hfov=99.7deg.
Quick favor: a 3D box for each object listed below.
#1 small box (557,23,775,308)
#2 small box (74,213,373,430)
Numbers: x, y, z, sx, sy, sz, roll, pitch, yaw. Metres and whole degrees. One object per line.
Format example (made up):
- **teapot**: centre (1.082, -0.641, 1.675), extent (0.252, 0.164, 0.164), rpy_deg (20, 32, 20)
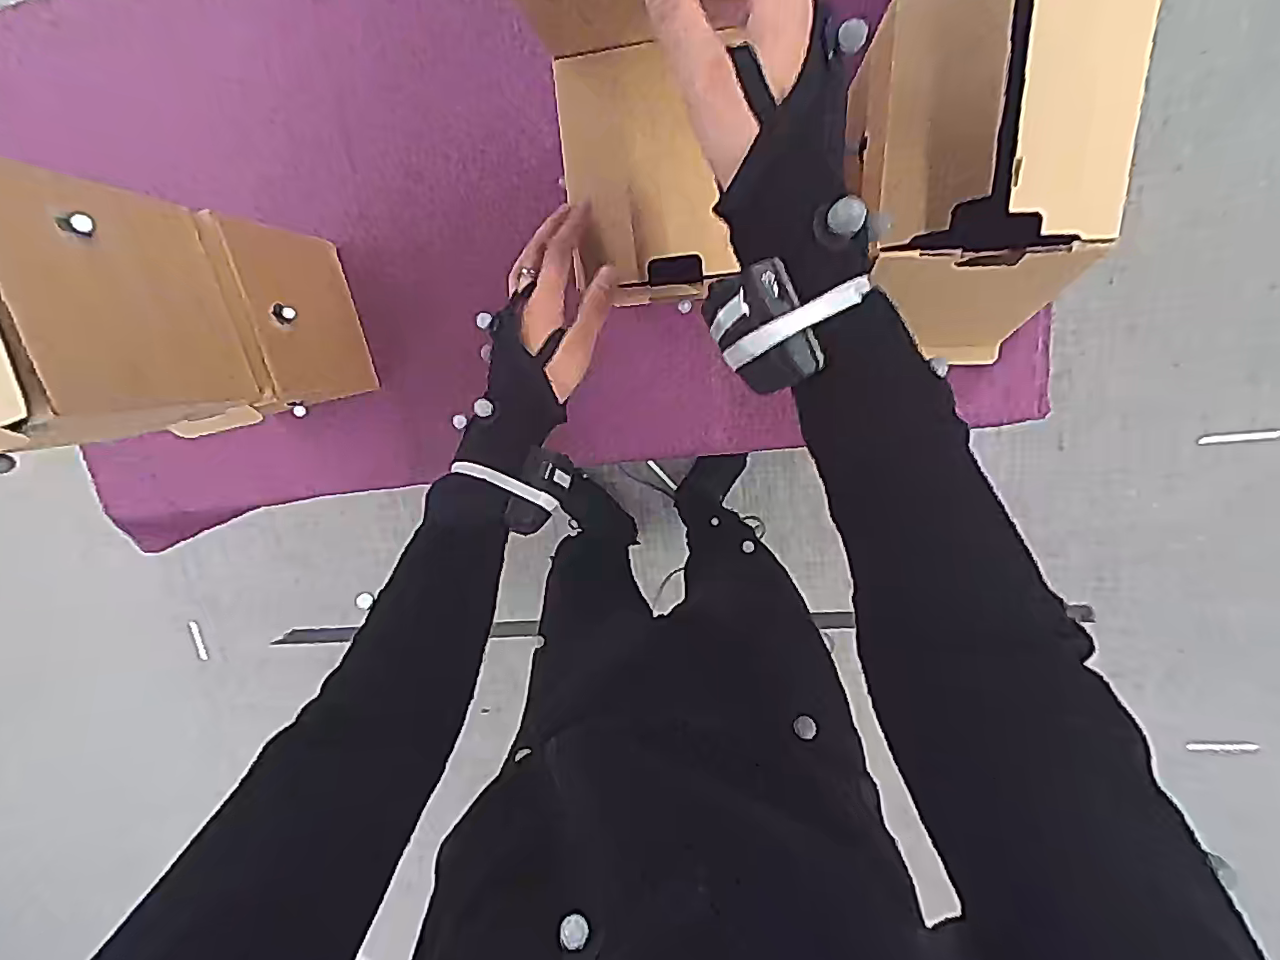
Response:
- **small box**: centre (0.032, -0.260, 0.494), extent (0.168, 0.176, 0.179), rpy_deg (-2, 104, 10)
- **small box**: centre (-0.428, -0.164, 0.590), extent (0.168, 0.176, 0.179), rpy_deg (-9, 102, 10)
